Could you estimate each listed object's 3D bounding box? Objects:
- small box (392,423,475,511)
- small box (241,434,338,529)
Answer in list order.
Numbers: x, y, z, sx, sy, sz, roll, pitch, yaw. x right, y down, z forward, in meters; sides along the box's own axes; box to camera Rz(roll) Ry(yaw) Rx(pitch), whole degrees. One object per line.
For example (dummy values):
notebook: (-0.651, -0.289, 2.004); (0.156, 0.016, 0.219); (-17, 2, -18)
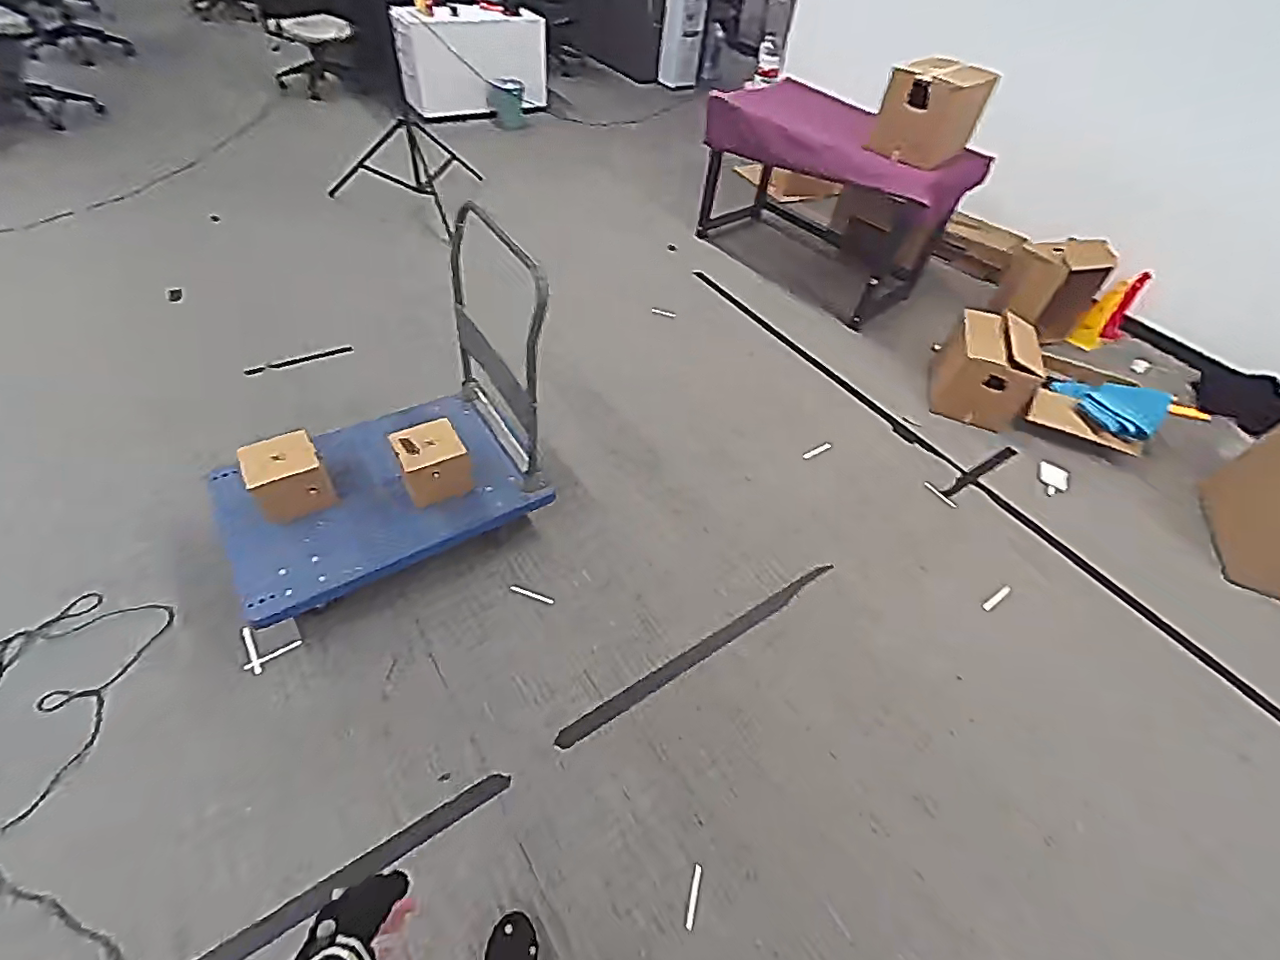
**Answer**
small box: (-0.612, -0.036, 1.613); (0.179, 0.176, 0.168); (-22, 55, -25)
small box: (-0.978, 0.005, 1.524); (0.179, 0.176, 0.168); (-24, 56, -26)
